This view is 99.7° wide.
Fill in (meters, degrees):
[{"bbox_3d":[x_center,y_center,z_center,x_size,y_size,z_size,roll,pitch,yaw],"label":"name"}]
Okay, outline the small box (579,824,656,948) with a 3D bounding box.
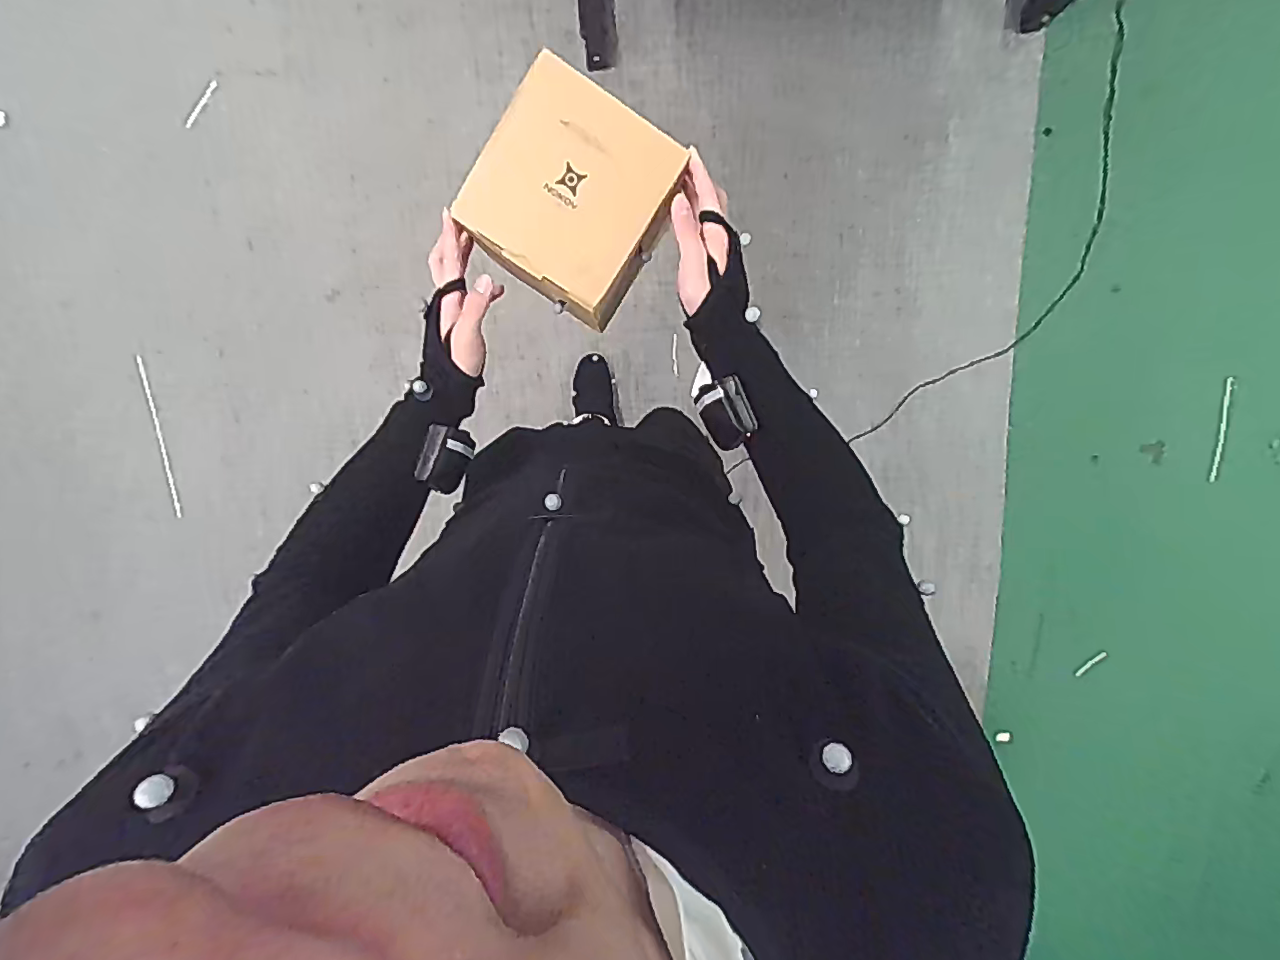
[{"bbox_3d":[-0.055,0.941,1.266,0.168,0.176,0.179,2,102,-3],"label":"small box"}]
